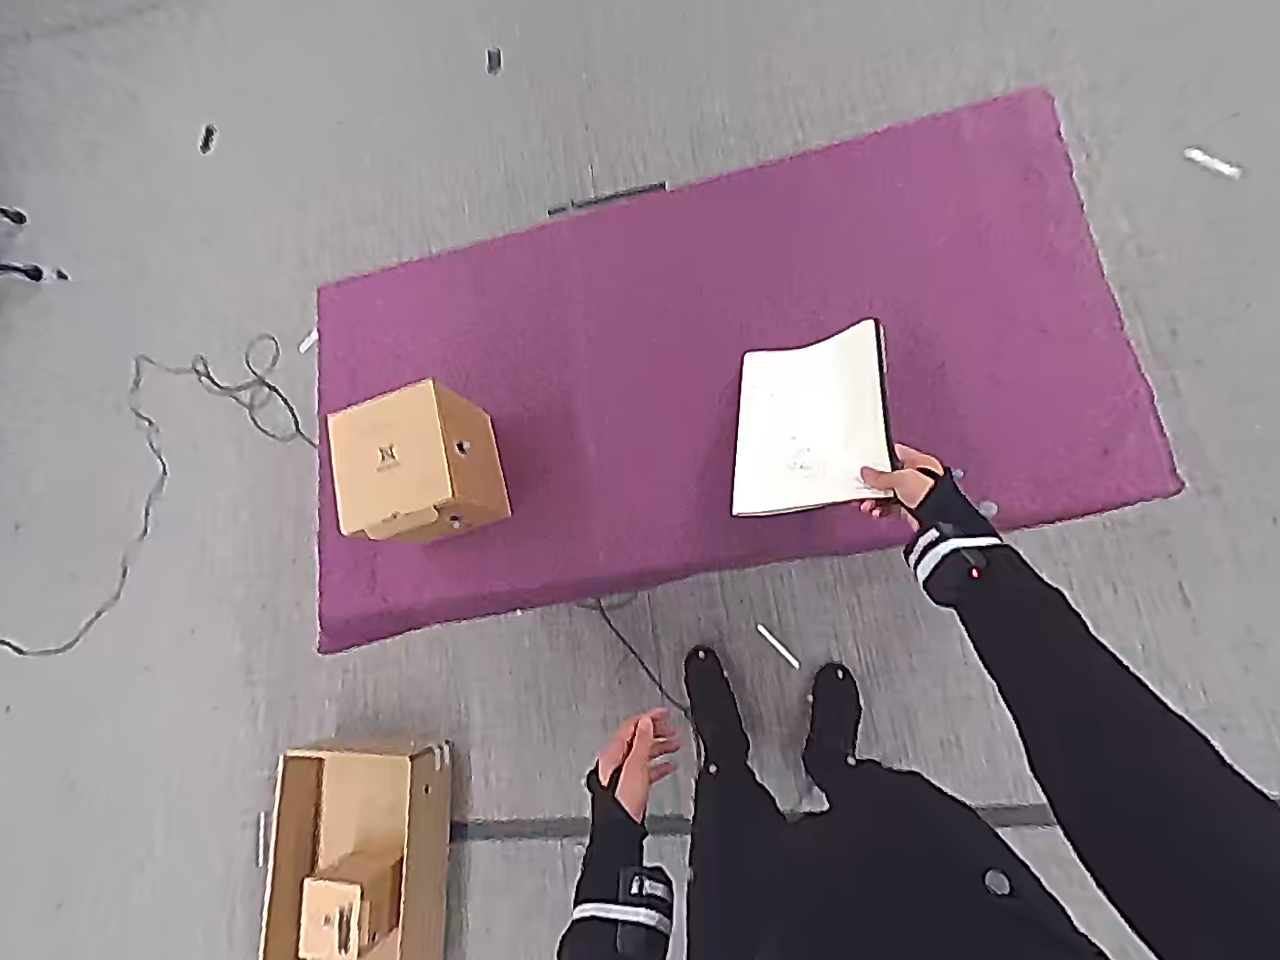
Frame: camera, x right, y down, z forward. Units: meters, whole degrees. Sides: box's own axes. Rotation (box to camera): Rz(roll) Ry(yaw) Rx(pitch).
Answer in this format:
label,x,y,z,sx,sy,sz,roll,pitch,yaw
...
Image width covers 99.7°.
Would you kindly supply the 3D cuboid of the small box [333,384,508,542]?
label,x,y,z,sx,sy,sz,roll,pitch,yaw
small box,-0.312,-0.012,0.796,0.168,0.176,0.179,-17,75,8
